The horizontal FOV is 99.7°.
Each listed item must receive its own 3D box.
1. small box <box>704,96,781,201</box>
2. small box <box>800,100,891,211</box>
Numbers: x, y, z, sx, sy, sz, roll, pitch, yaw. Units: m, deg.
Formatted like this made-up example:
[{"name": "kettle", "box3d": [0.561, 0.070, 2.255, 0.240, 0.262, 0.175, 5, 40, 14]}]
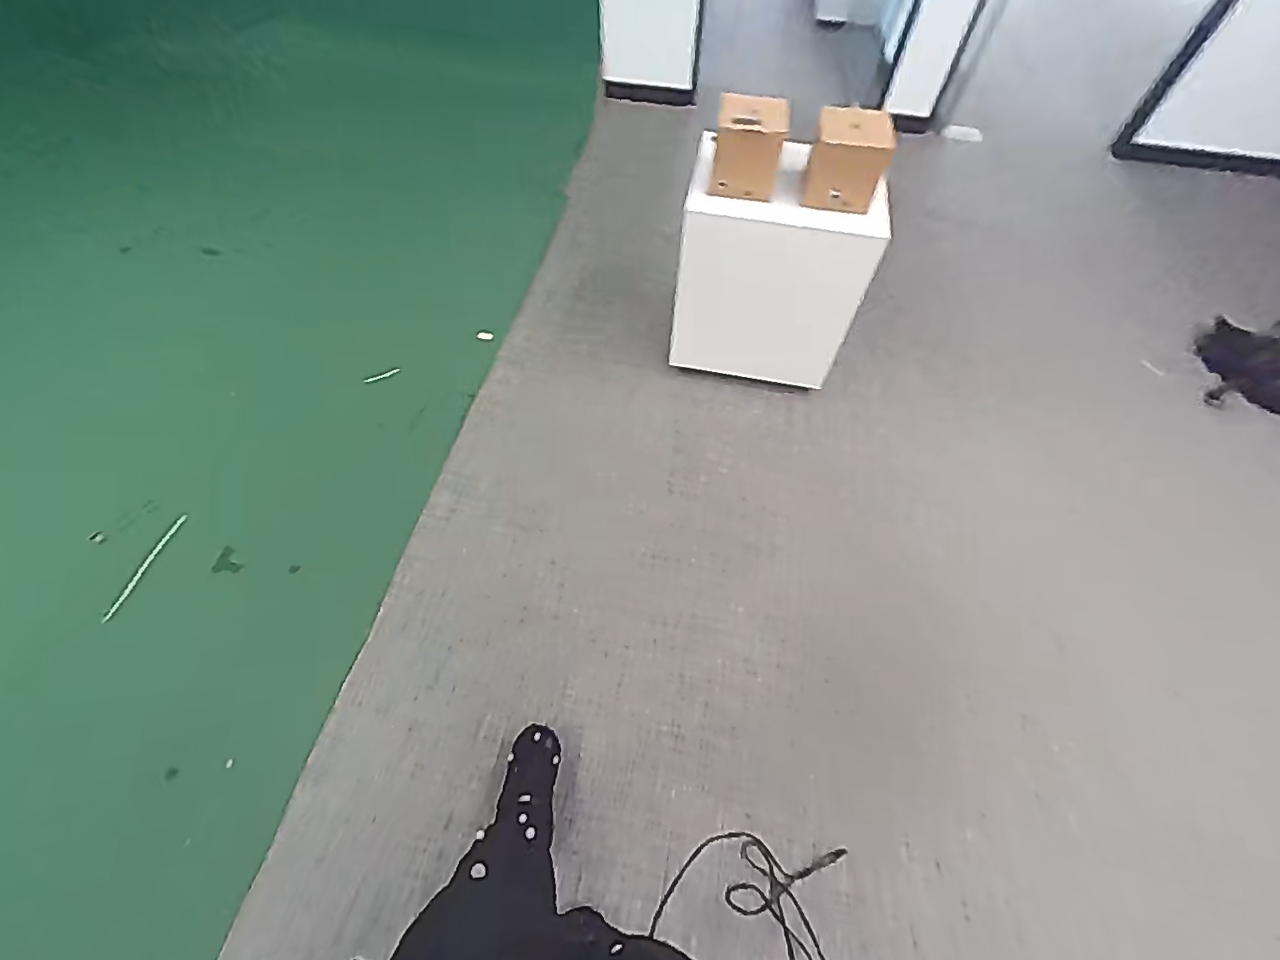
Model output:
[{"name": "small box", "box3d": [0.257, -0.835, 1.371, 0.168, 0.176, 0.179, 8, 58, 3]}, {"name": "small box", "box3d": [0.500, -0.802, 1.340, 0.168, 0.176, 0.179, 8, 60, 4]}]
